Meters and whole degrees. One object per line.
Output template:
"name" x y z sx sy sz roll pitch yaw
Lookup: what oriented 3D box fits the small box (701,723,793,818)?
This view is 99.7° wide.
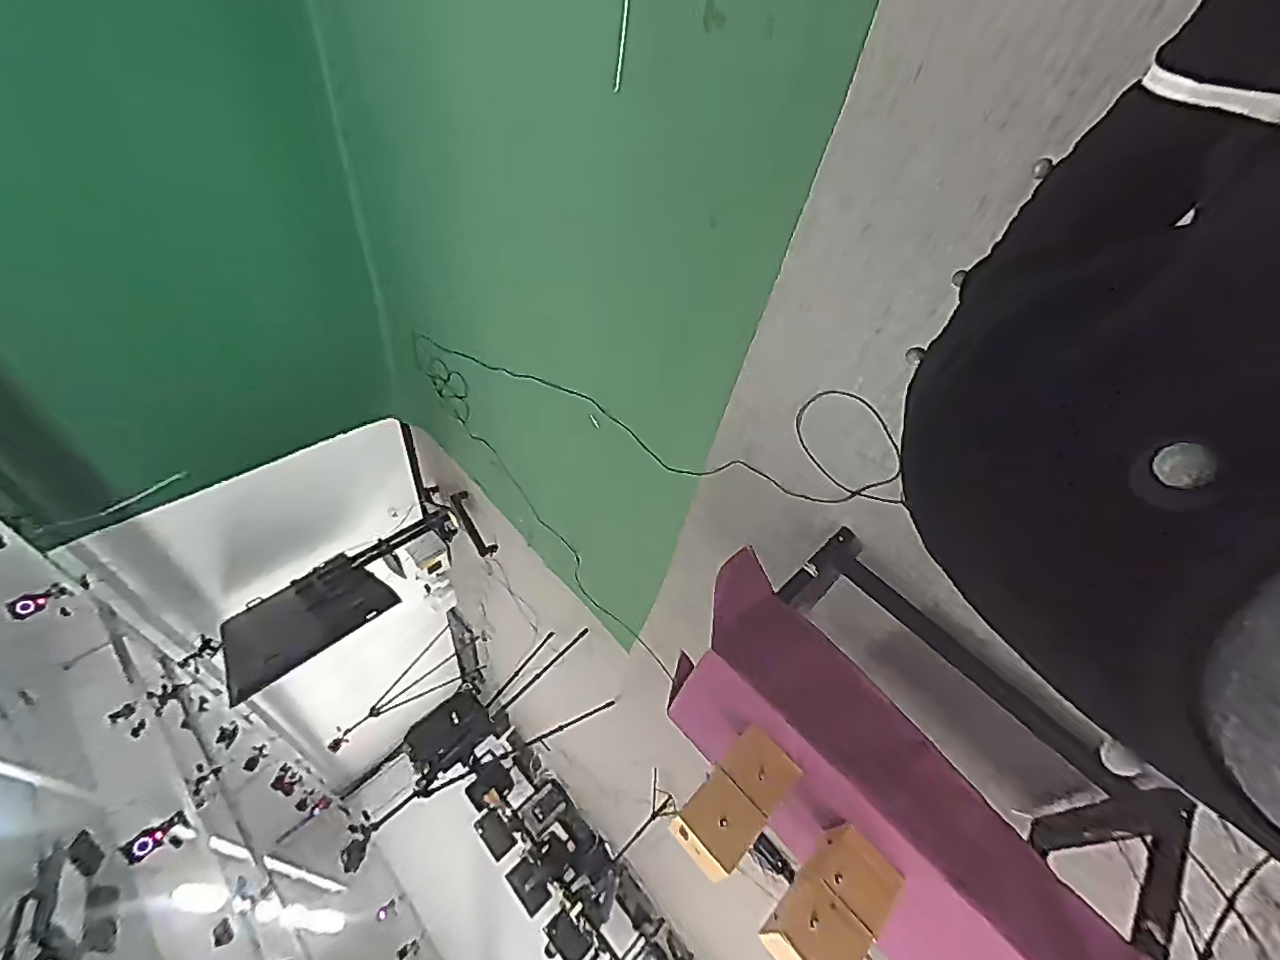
"small box" 0.296 0.822 1.512 0.179 0.176 0.168 40 143 24

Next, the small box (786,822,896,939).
"small box" 0.521 1.031 1.397 0.179 0.176 0.168 44 145 22

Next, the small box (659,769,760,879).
"small box" 0.181 0.893 1.419 0.179 0.176 0.168 41 144 23

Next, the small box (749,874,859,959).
"small box" 0.400 1.098 1.311 0.168 0.176 0.179 44 145 23
